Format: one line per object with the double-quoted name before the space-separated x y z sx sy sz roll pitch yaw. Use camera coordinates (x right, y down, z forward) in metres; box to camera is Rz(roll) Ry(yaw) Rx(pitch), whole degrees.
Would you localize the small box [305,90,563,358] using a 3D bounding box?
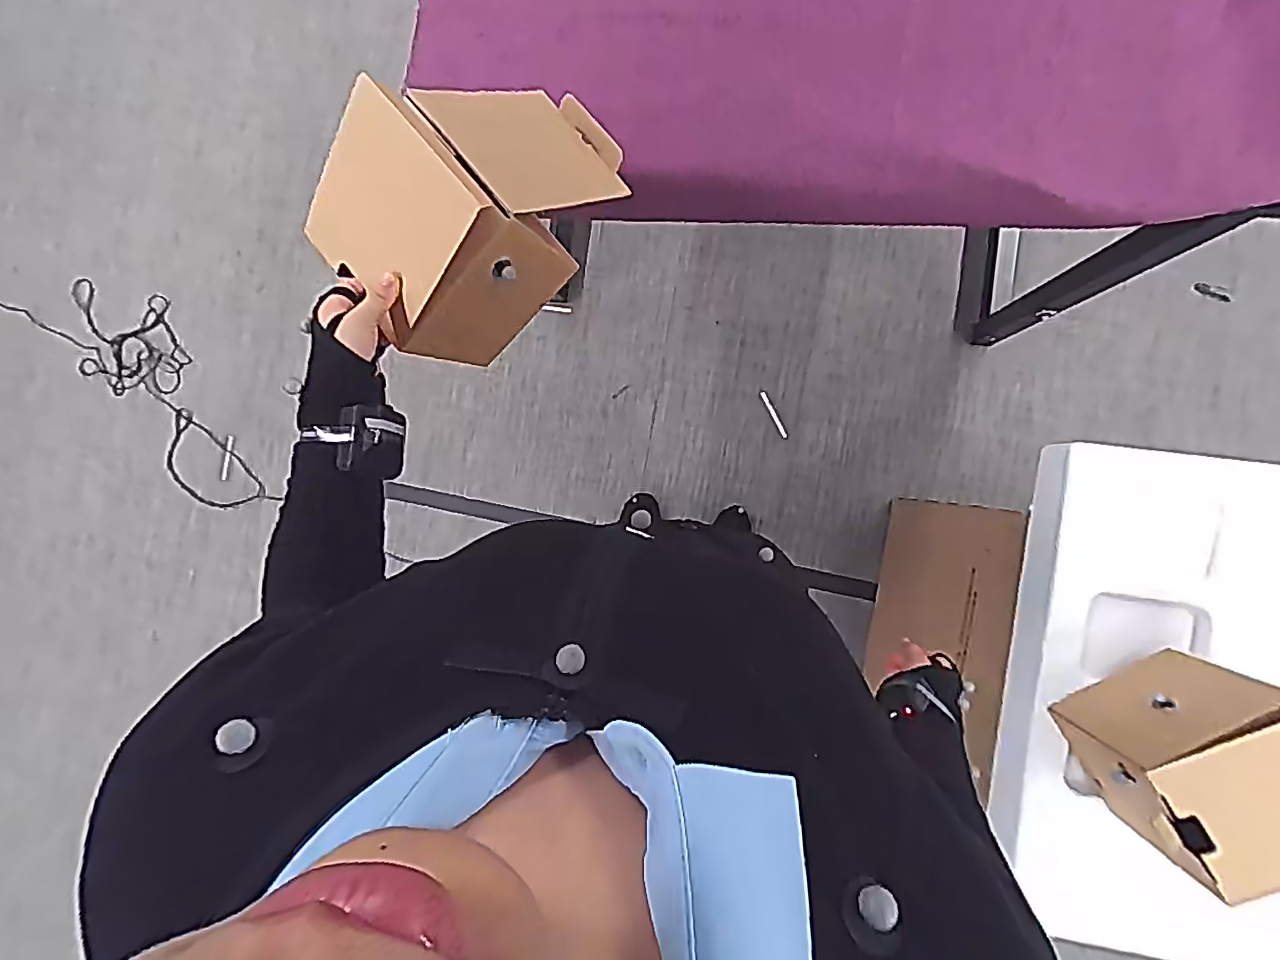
"small box" -0.207 -0.259 0.596 0.179 0.176 0.168 -41 83 15
